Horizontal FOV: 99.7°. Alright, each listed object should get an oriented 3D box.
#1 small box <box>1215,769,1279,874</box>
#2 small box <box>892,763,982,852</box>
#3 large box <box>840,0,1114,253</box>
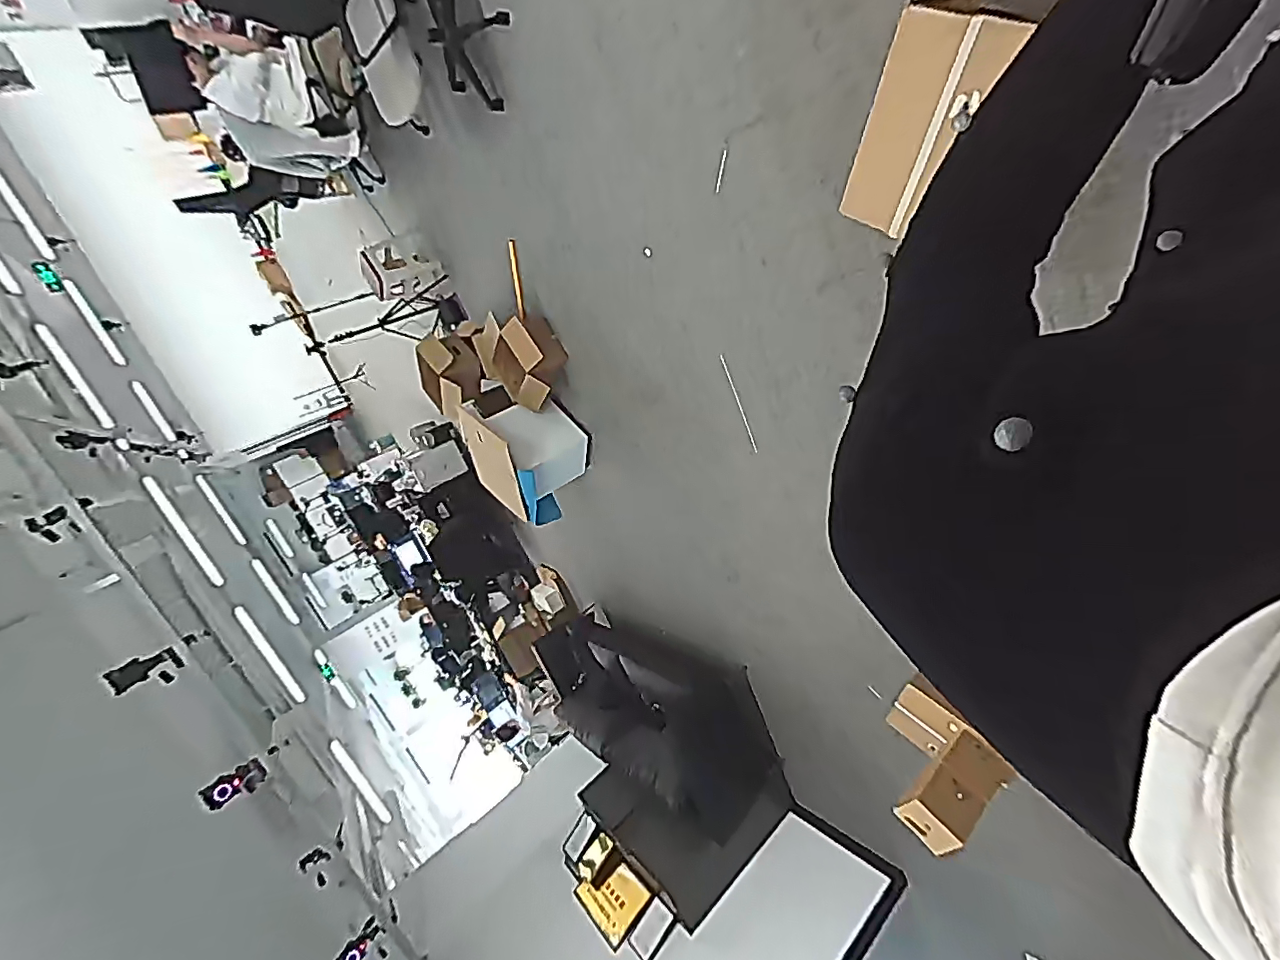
[{"bbox_3d":[1.661,0.899,1.414,0.179,0.176,0.168,-4,113,58],"label":"small box"},{"bbox_3d":[0.973,1.068,1.769,0.168,0.176,0.179,42,146,27],"label":"small box"},{"bbox_3d":[0.720,-0.790,1.208,0.320,0.320,0.408,40,146,28],"label":"large box"}]
